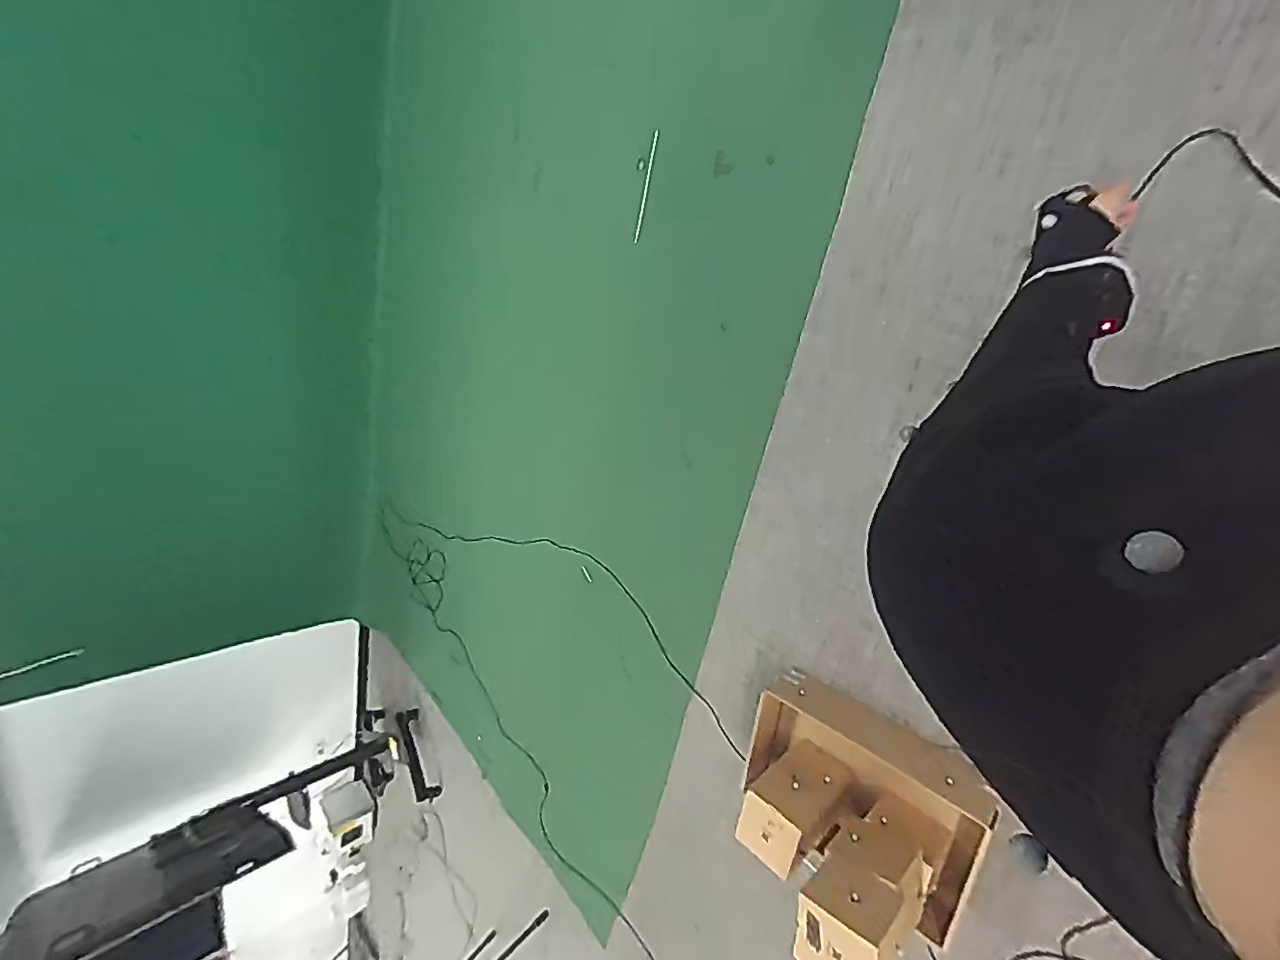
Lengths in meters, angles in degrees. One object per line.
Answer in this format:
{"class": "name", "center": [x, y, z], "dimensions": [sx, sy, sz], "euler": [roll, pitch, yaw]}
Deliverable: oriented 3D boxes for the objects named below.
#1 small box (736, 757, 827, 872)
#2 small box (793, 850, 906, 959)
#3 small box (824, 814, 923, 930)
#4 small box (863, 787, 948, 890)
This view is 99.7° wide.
{"class": "small box", "center": [0.395, 0.918, 1.499], "dimensions": [0.168, 0.176, 0.179], "euler": [24, 111, 39]}
{"class": "small box", "center": [0.469, 0.978, 1.210], "dimensions": [0.179, 0.176, 0.168], "euler": [10, 102, 44]}
{"class": "small box", "center": [0.576, 0.965, 1.334], "dimensions": [0.179, 0.176, 0.168], "euler": [0, 94, 45]}
{"class": "small box", "center": [0.693, 0.970, 1.447], "dimensions": [0.179, 0.176, 0.168], "euler": [23, 110, 42]}
